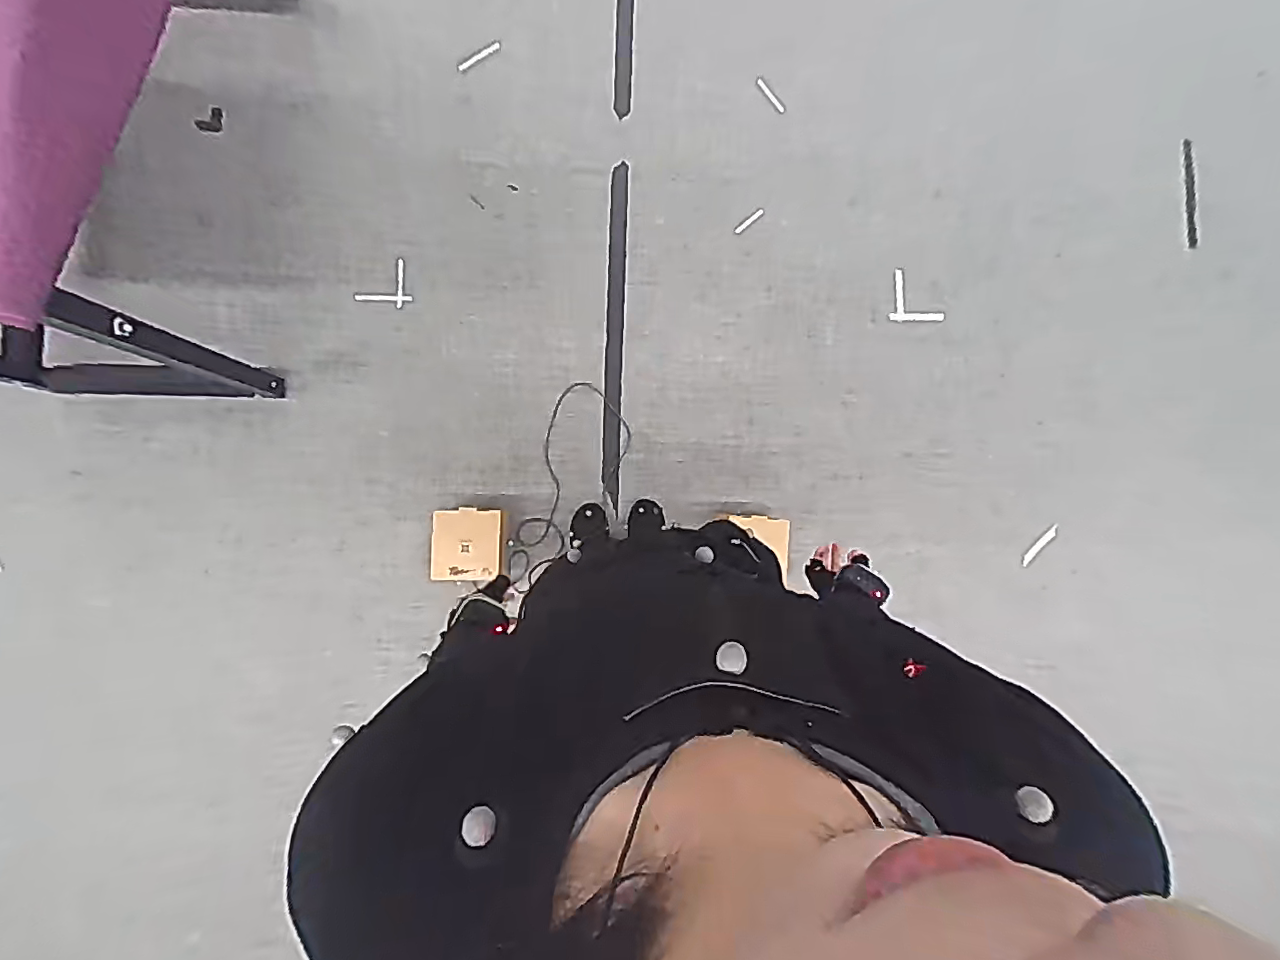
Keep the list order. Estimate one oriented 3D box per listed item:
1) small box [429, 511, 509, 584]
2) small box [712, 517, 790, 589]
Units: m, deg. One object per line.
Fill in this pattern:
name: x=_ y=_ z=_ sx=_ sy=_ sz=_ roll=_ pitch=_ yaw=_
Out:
small box: x=-0.435 y=0.174 z=1.398 sx=0.168 sy=0.176 sz=0.179 roll=2 pitch=85 yaw=-5
small box: x=0.296 y=0.194 z=1.469 sx=0.168 sy=0.176 sz=0.179 roll=3 pitch=88 yaw=-4
